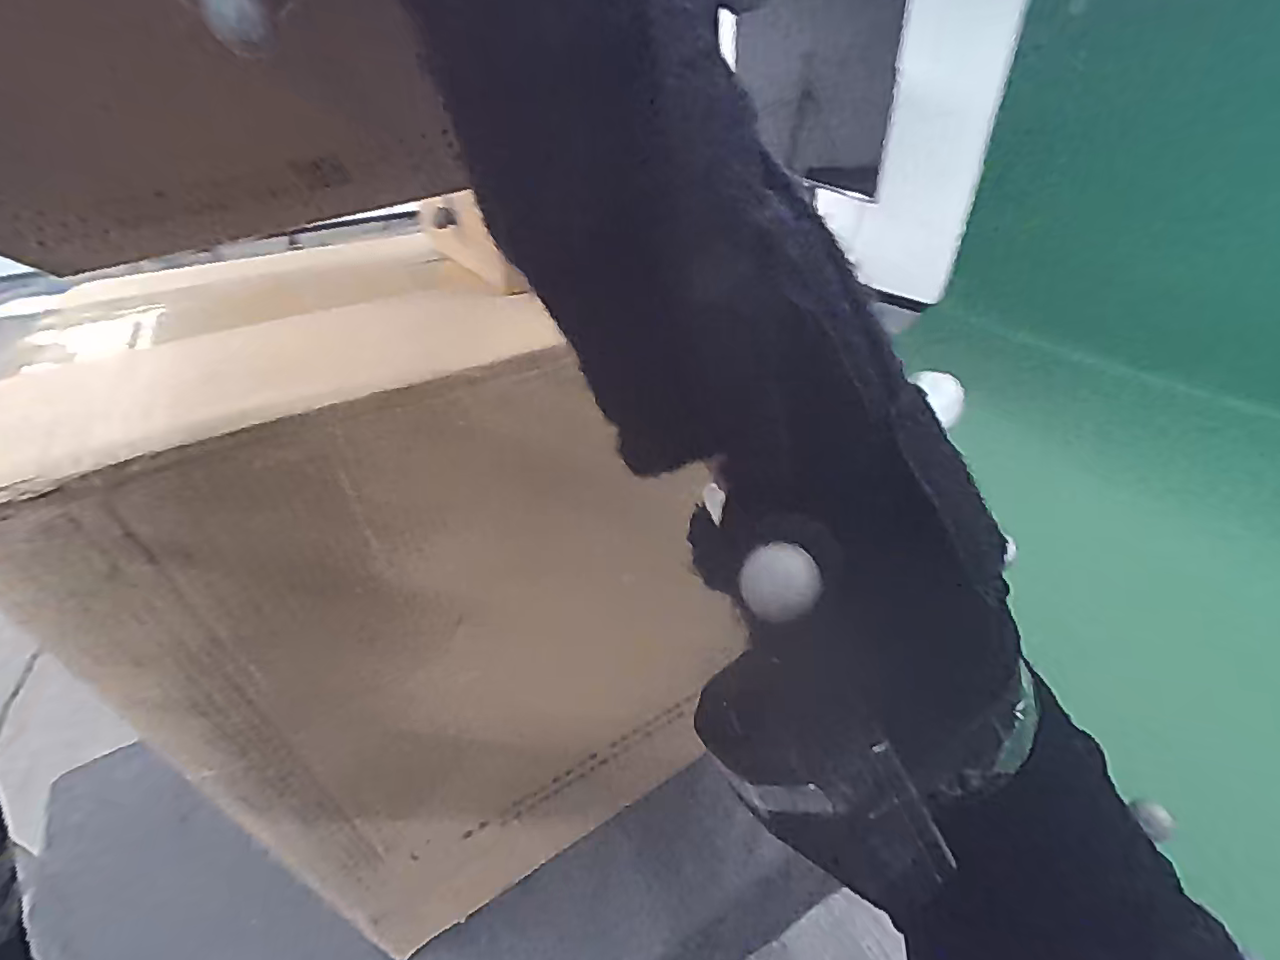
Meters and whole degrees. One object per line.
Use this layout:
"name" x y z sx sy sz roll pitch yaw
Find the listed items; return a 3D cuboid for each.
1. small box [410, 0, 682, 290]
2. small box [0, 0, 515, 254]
"small box" -0.082 -0.263 0.426 0.168 0.176 0.179 -25 45 -26
"small box" -0.136 -0.163 0.098 0.168 0.179 0.176 -18 3 -2
